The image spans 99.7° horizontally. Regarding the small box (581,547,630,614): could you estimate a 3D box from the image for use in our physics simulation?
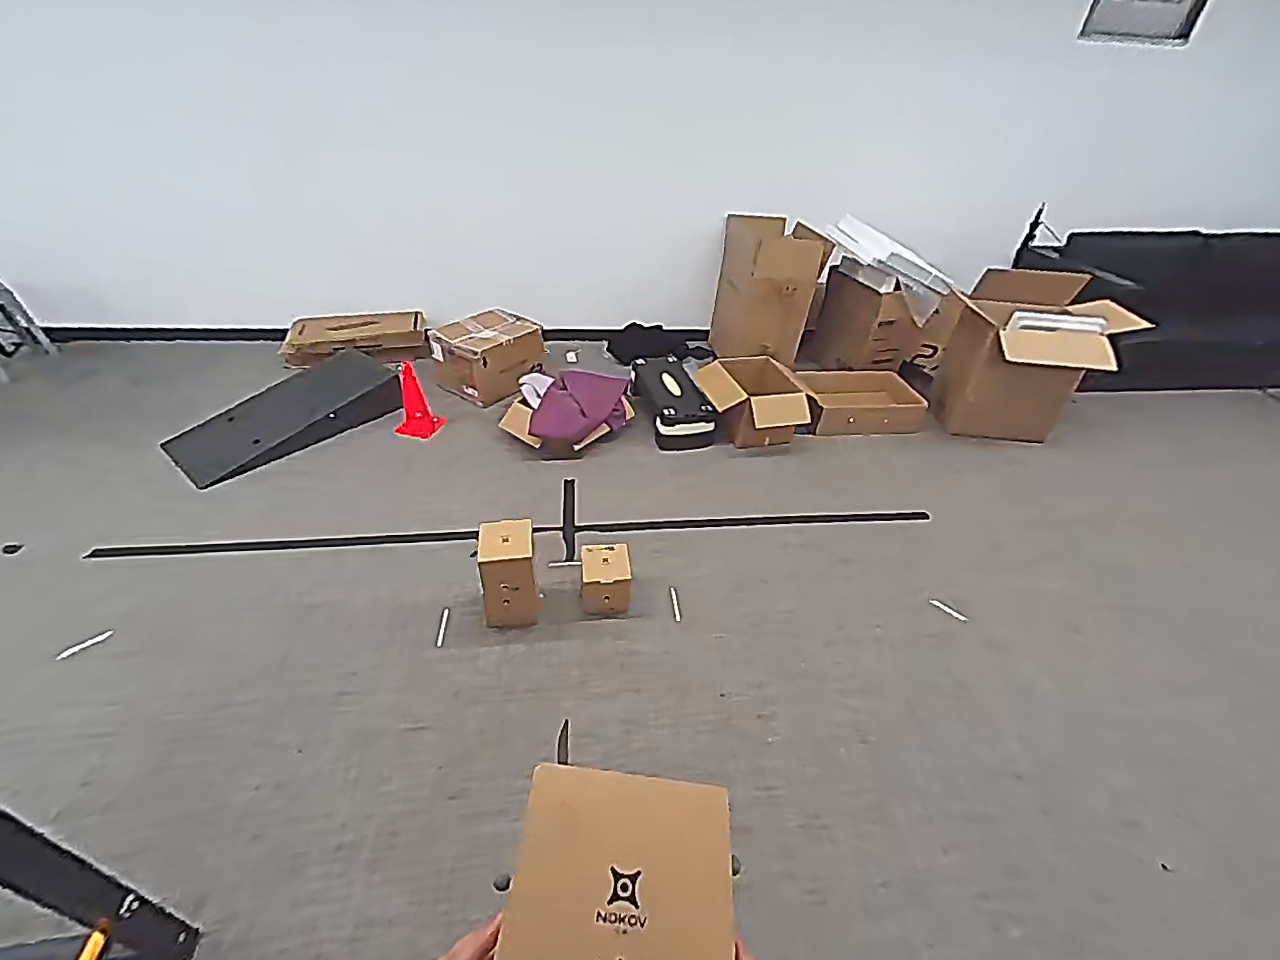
[{"bbox_3d":[-0.123,0.361,1.918,0.168,0.176,0.179,-2,38,-7],"label":"small box"}]

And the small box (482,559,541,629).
[{"bbox_3d":[-0.435,0.392,1.851,0.179,0.176,0.168,-3,38,-9],"label":"small box"}]

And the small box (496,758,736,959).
[{"bbox_3d":[-0.021,0.363,0.446,0.168,0.176,0.179,8,41,-1],"label":"small box"}]

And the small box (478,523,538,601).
[{"bbox_3d":[-0.424,0.265,1.751,0.168,0.176,0.179,-6,39,-9],"label":"small box"}]
